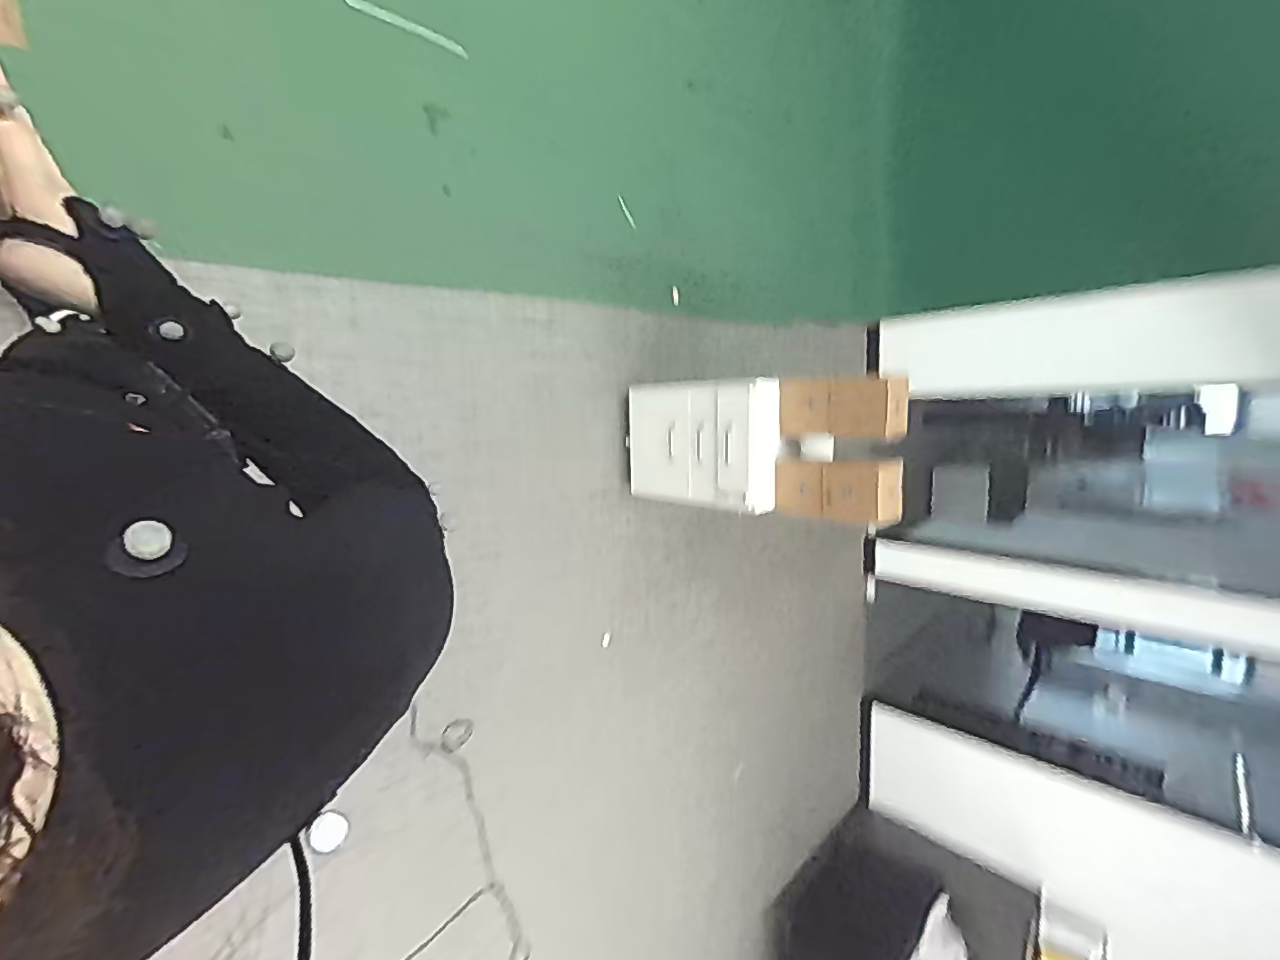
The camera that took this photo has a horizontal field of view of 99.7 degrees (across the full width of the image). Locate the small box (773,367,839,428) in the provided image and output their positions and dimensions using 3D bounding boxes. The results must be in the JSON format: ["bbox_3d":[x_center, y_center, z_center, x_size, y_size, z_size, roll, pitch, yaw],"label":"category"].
[{"bbox_3d":[0.534,-0.261,1.712,0.168,0.176,0.179,-15,108,-43],"label":"small box"}]

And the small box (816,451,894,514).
[{"bbox_3d":[0.641,0.003,1.617,0.179,0.176,0.168,-10,102,-44],"label":"small box"}]

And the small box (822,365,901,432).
[{"bbox_3d":[0.652,-0.245,1.599,0.168,0.176,0.179,-18,108,-44],"label":"small box"}]
